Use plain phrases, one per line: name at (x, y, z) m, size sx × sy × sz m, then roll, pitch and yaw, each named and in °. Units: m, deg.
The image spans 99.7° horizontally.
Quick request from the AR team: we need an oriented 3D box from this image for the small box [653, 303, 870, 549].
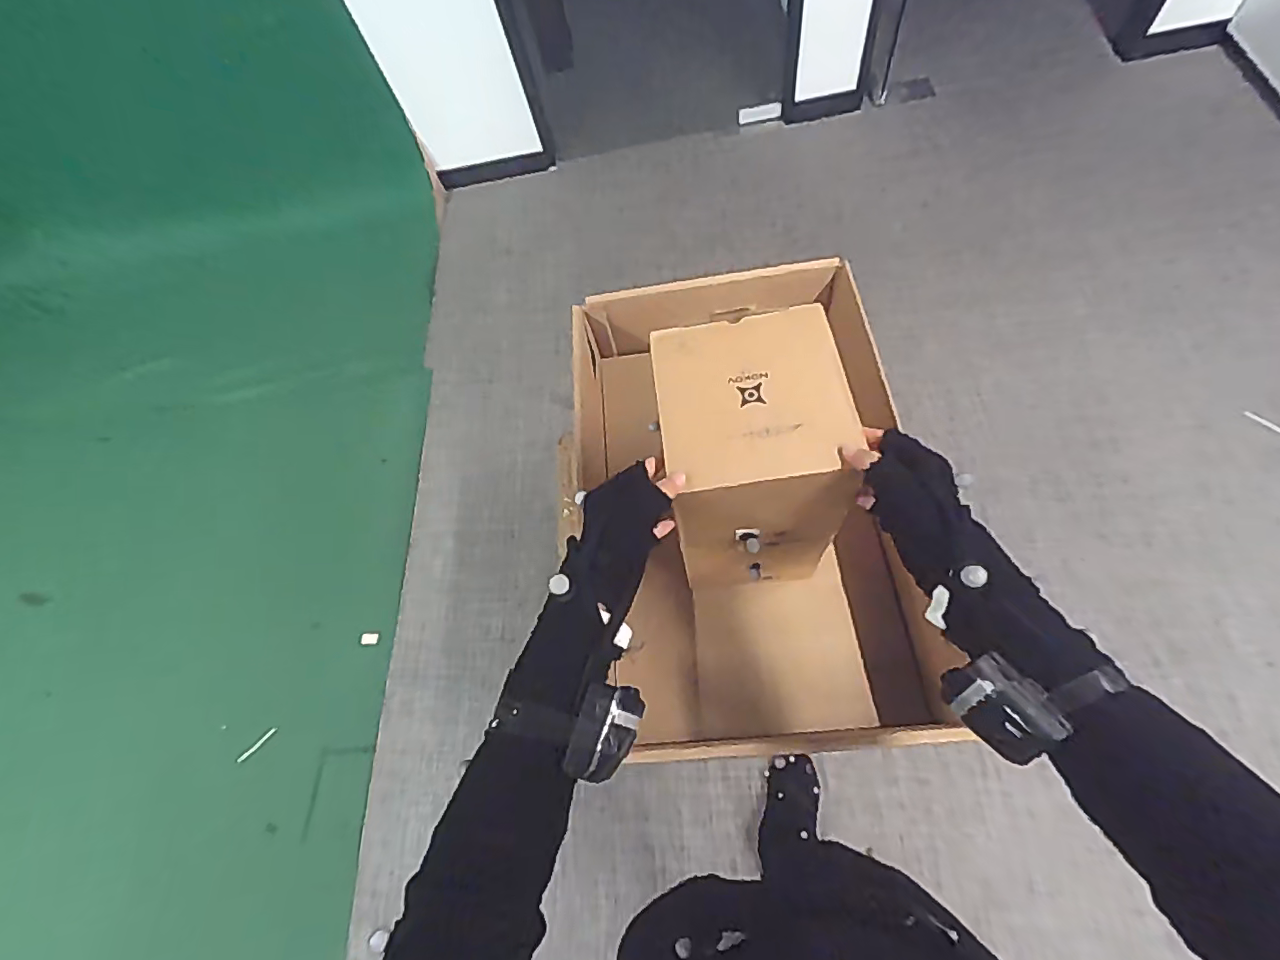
small box at (0.109, -0.045, 0.549) m, size 0.168 × 0.176 × 0.179 m, roll -9°, pitch 65°, yaw 5°
